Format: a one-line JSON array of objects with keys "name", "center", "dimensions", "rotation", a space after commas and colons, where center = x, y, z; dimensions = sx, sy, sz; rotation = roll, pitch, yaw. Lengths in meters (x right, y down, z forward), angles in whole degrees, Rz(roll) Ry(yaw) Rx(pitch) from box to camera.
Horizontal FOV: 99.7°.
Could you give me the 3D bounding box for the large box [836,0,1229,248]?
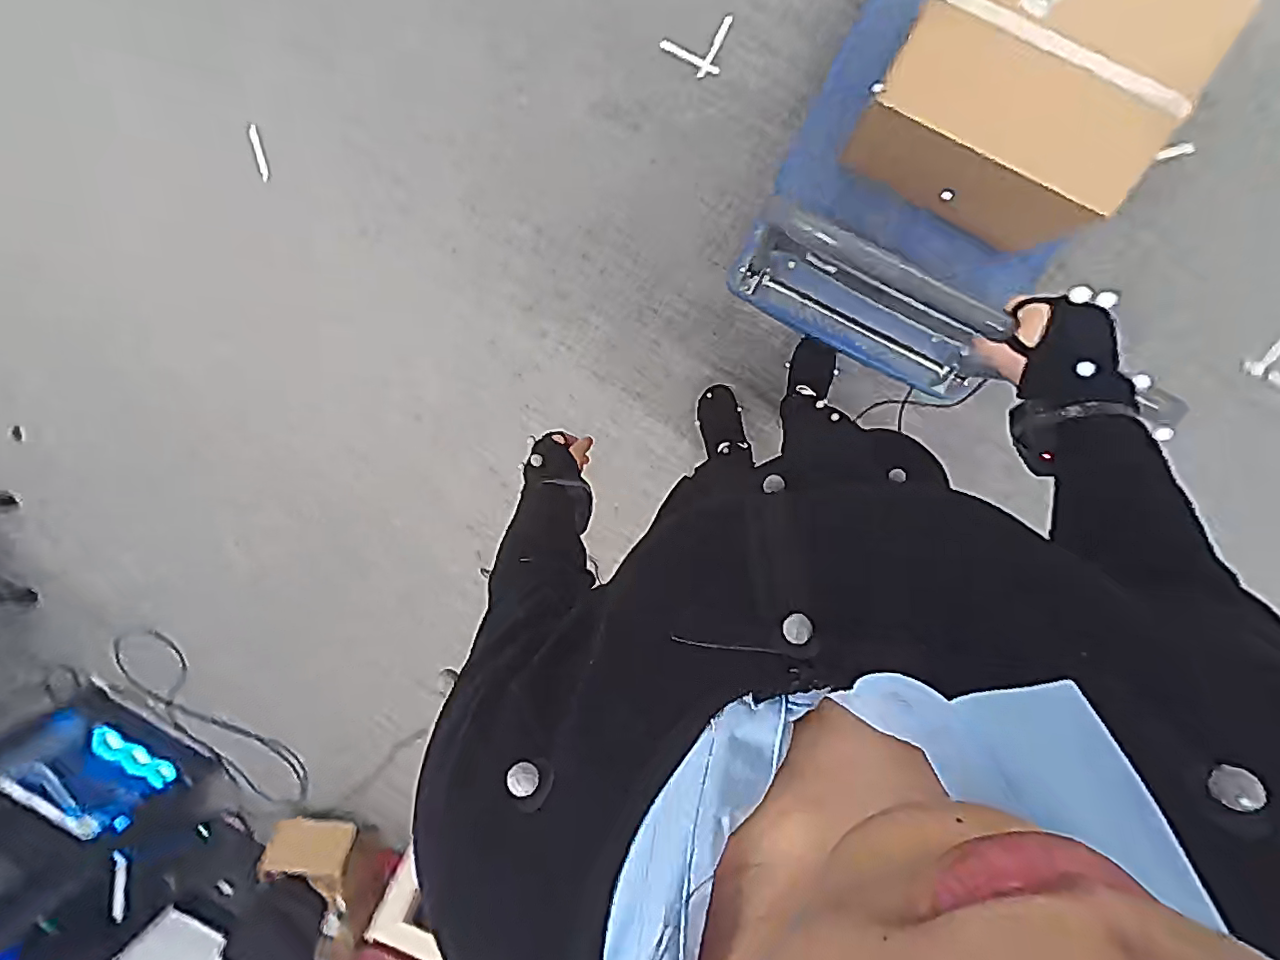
[{"name": "large box", "center": [0.628, -0.668, 0.962], "dimensions": [0.408, 0.320, 0.320], "rotation": [28, 105, 3]}]
